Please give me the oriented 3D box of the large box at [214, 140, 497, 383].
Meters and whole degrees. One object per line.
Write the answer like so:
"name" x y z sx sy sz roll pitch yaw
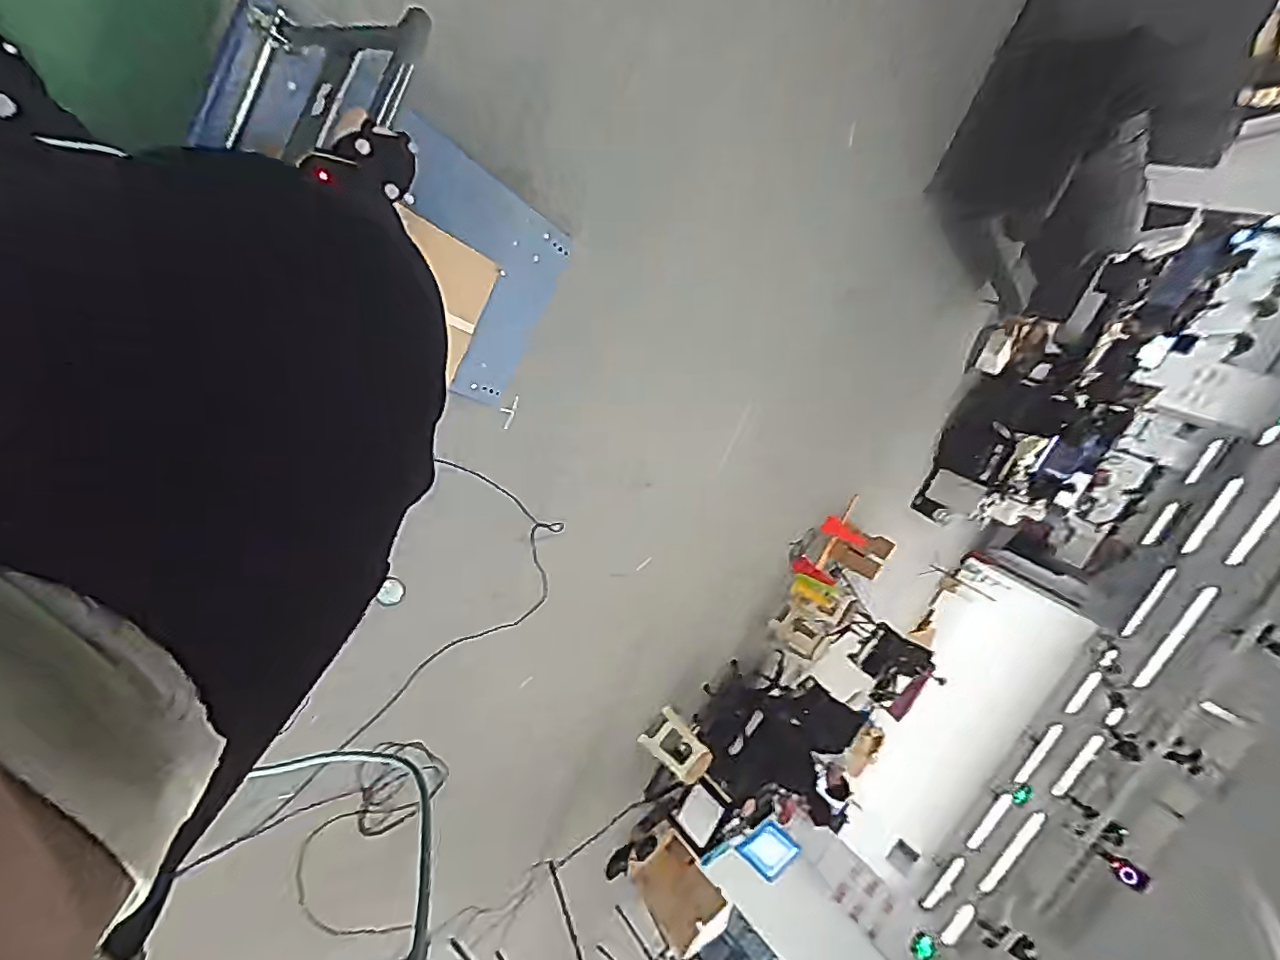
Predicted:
"large box" -0.604 -0.453 1.163 0.408 0.320 0.320 16 105 -53
